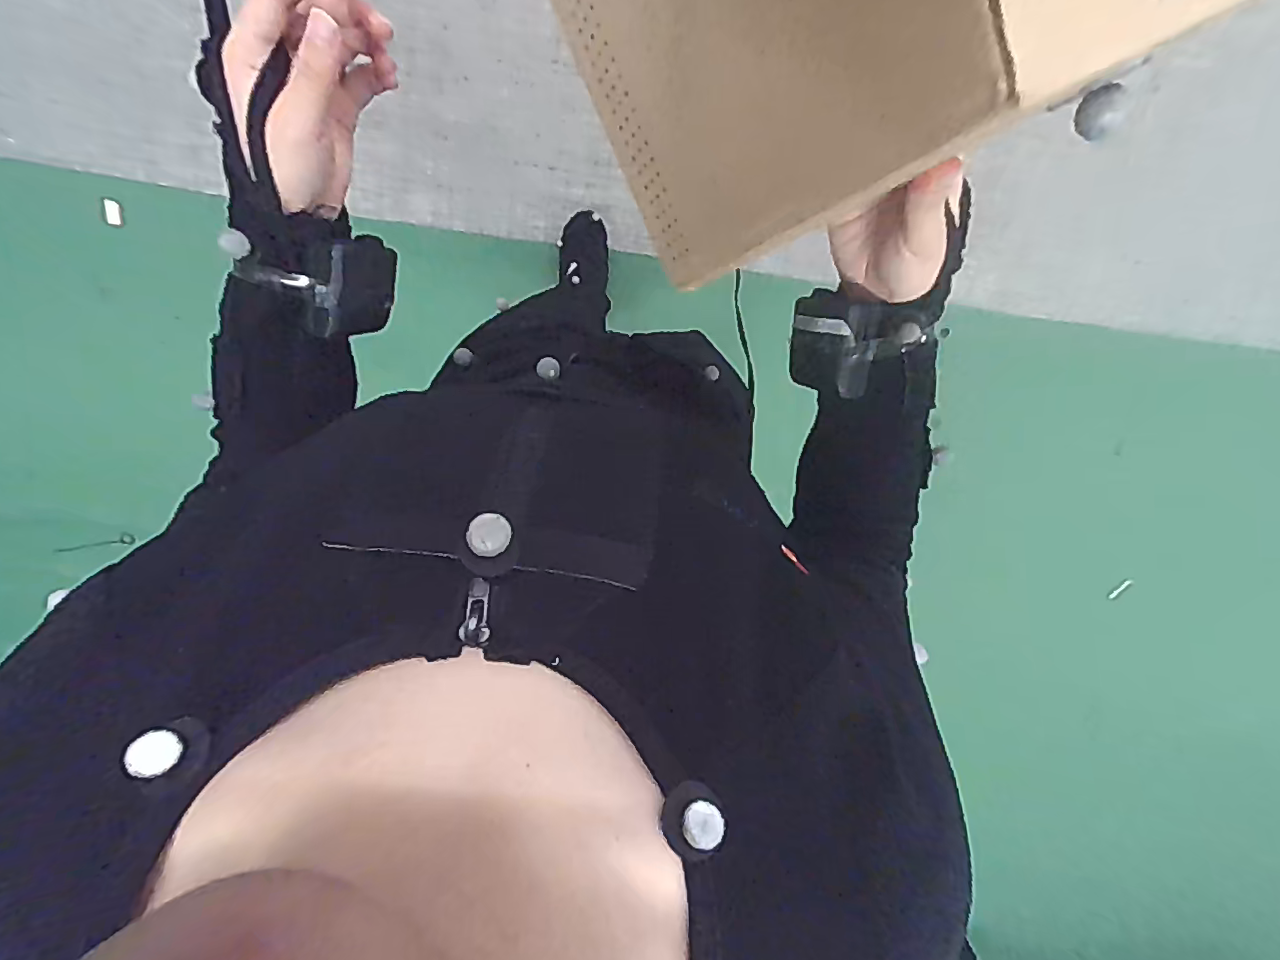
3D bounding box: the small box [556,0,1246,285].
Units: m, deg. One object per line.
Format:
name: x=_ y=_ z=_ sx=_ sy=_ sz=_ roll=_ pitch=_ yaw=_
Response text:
small box: x=0.077 y=-0.199 z=0.192 sx=0.168 sy=0.176 sz=0.179 roll=-32 pitch=105 yaw=-14
